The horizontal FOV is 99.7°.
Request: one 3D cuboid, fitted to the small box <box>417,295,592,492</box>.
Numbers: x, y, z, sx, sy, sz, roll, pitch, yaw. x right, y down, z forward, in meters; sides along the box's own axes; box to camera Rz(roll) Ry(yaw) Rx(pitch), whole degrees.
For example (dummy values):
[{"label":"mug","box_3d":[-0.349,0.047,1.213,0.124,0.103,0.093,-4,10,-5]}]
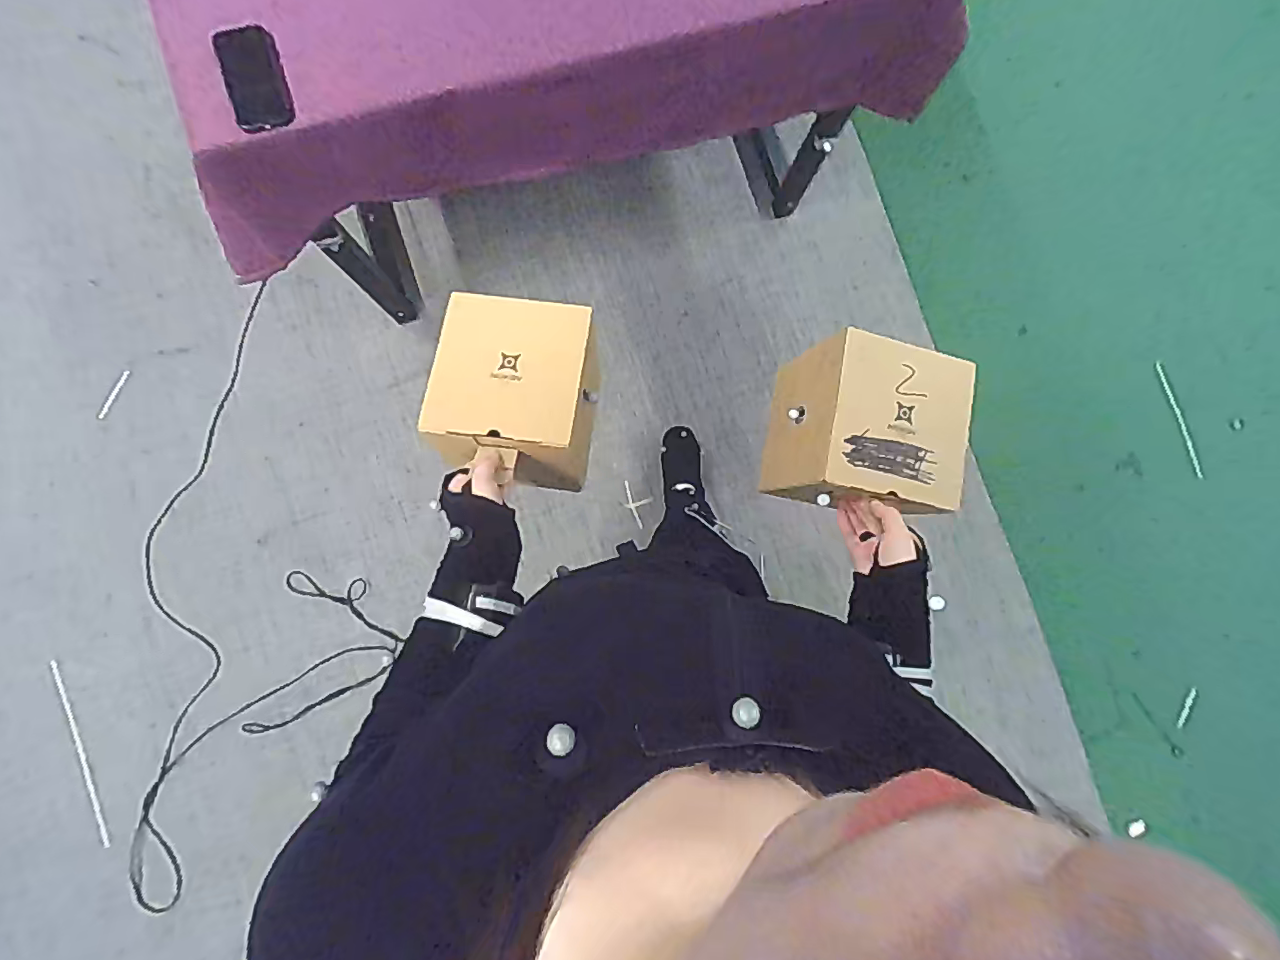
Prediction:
[{"label":"small box","box_3d":[-0.151,-0.098,0.671,0.168,0.176,0.179,6,73,-1]}]
